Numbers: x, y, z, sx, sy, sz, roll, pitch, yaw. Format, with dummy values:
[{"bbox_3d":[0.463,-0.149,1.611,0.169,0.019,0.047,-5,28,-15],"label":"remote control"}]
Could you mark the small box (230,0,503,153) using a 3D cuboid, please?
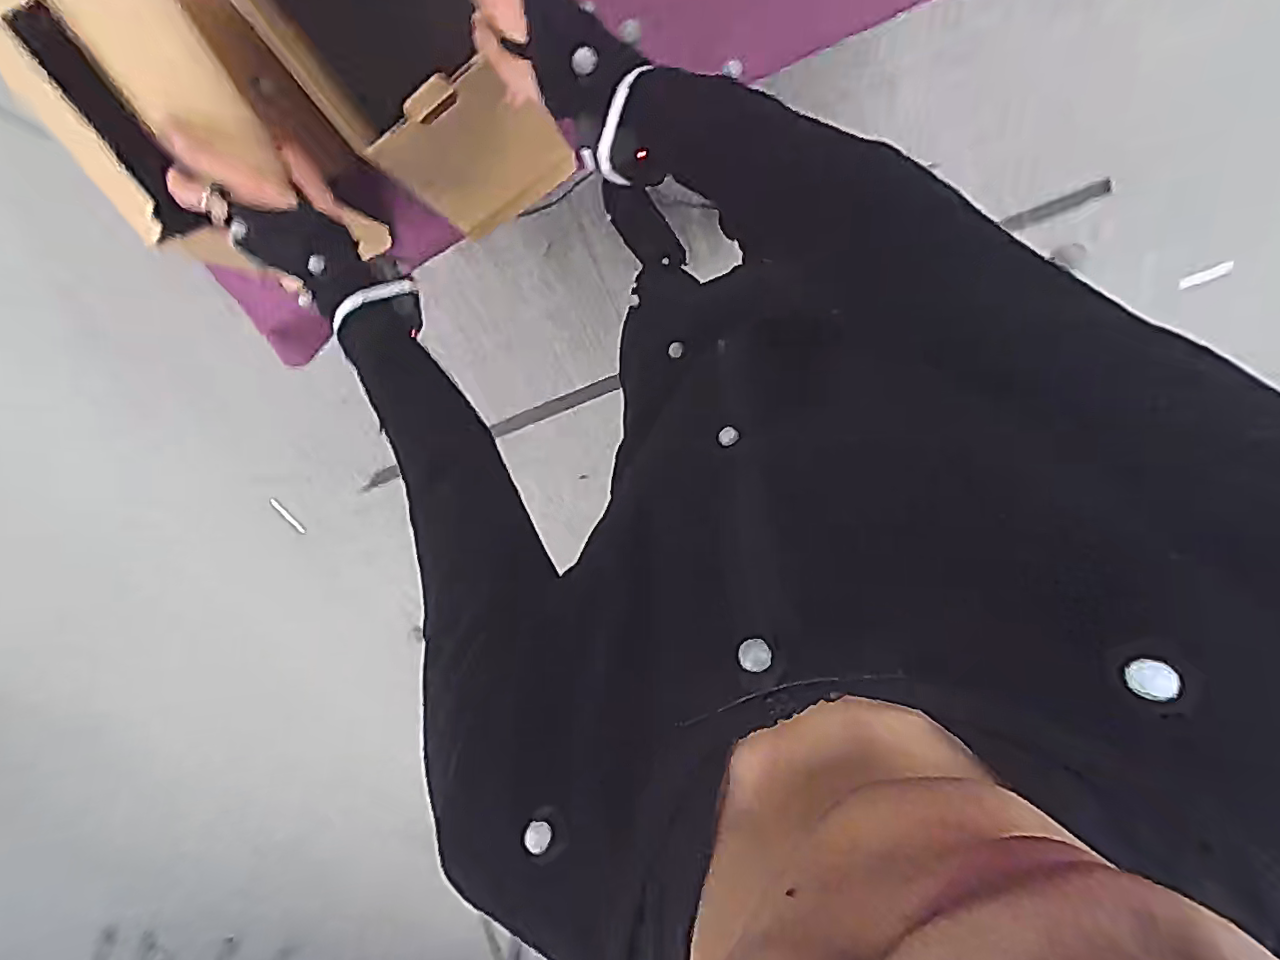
[{"bbox_3d":[-0.246,-0.442,0.499,0.168,0.176,0.179,-30,123,13],"label":"small box"}]
